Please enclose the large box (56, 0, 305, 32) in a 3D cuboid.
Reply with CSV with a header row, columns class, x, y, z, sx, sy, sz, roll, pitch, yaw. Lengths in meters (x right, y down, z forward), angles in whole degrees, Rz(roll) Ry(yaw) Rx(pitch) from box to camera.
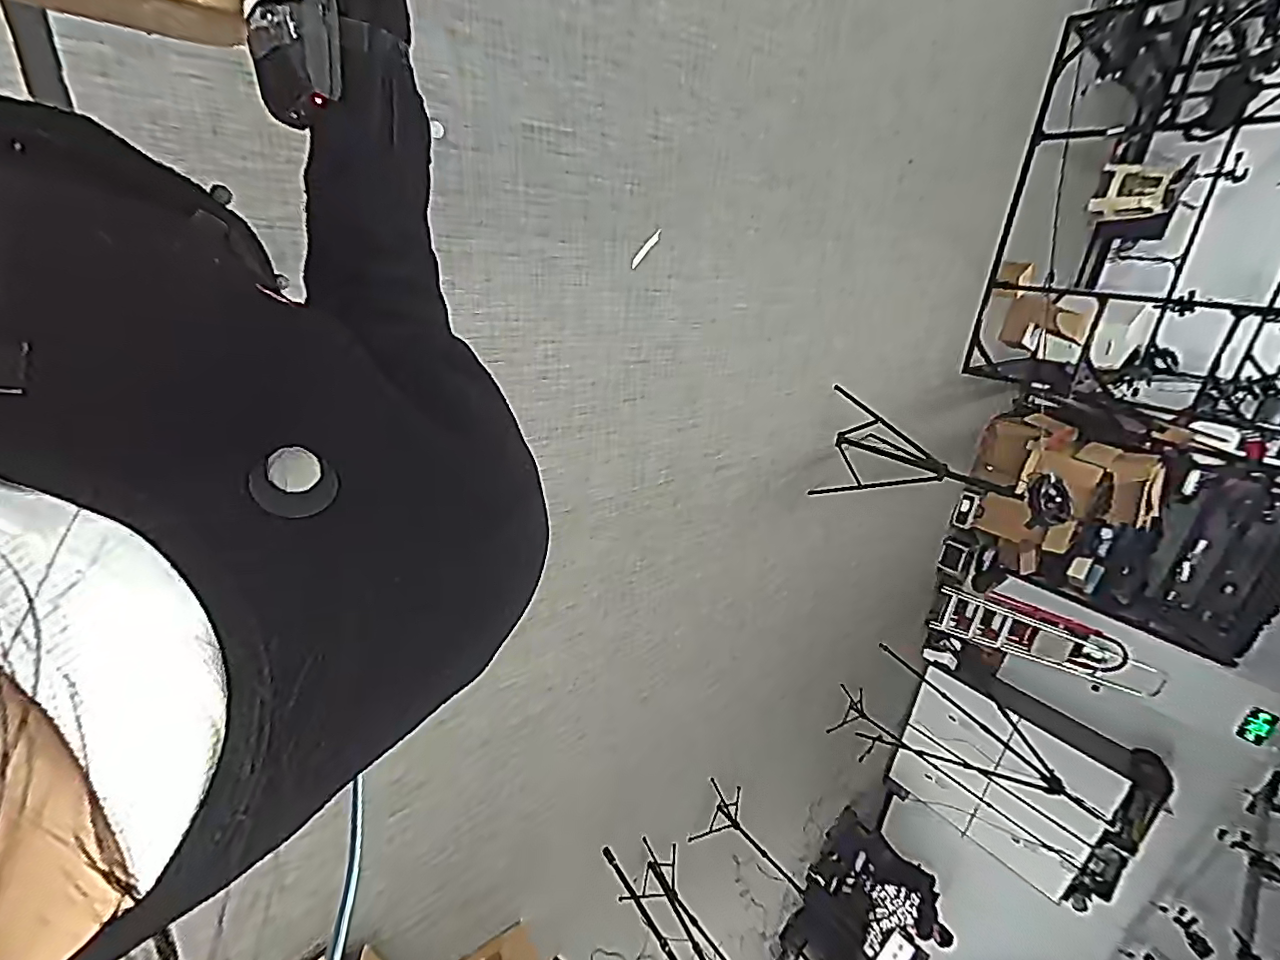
class,x,y,z,sx,sy,sz,roll,pitch,yaw
large box,-0.448,-0.459,0.253,0.408,0.320,0.320,-18,130,-39
